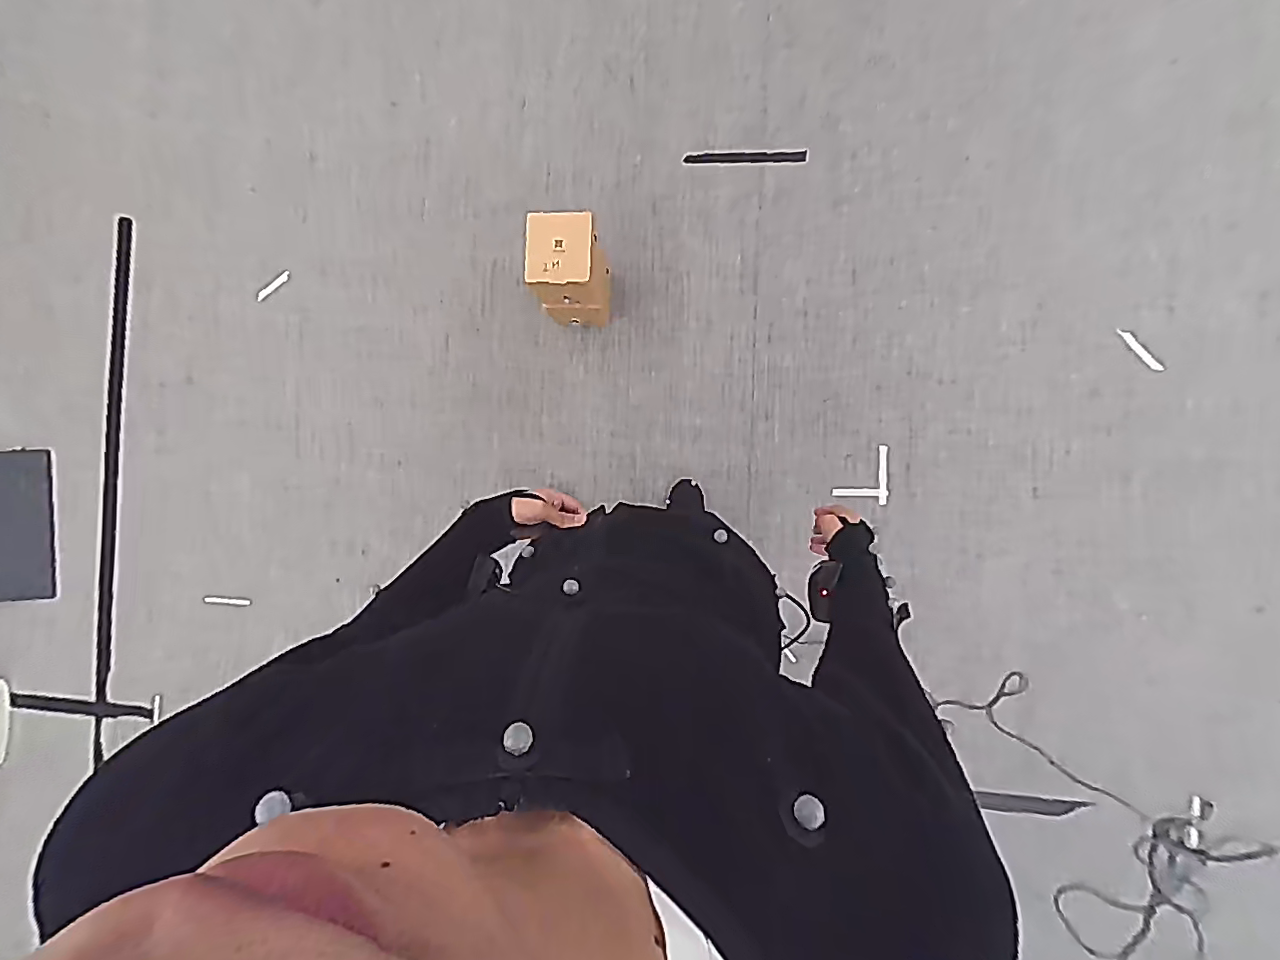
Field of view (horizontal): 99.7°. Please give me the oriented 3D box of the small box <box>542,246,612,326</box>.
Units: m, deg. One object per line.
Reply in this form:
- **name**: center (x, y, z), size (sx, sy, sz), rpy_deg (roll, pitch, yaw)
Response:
- **small box**: center (-0.176, -0.558, 1.558), size (0.168, 0.176, 0.179), rpy_deg (3, 90, 6)

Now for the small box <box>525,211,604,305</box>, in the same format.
- **small box**: center (-0.190, -0.567, 1.394), size (0.168, 0.176, 0.179), rpy_deg (2, 91, 6)
